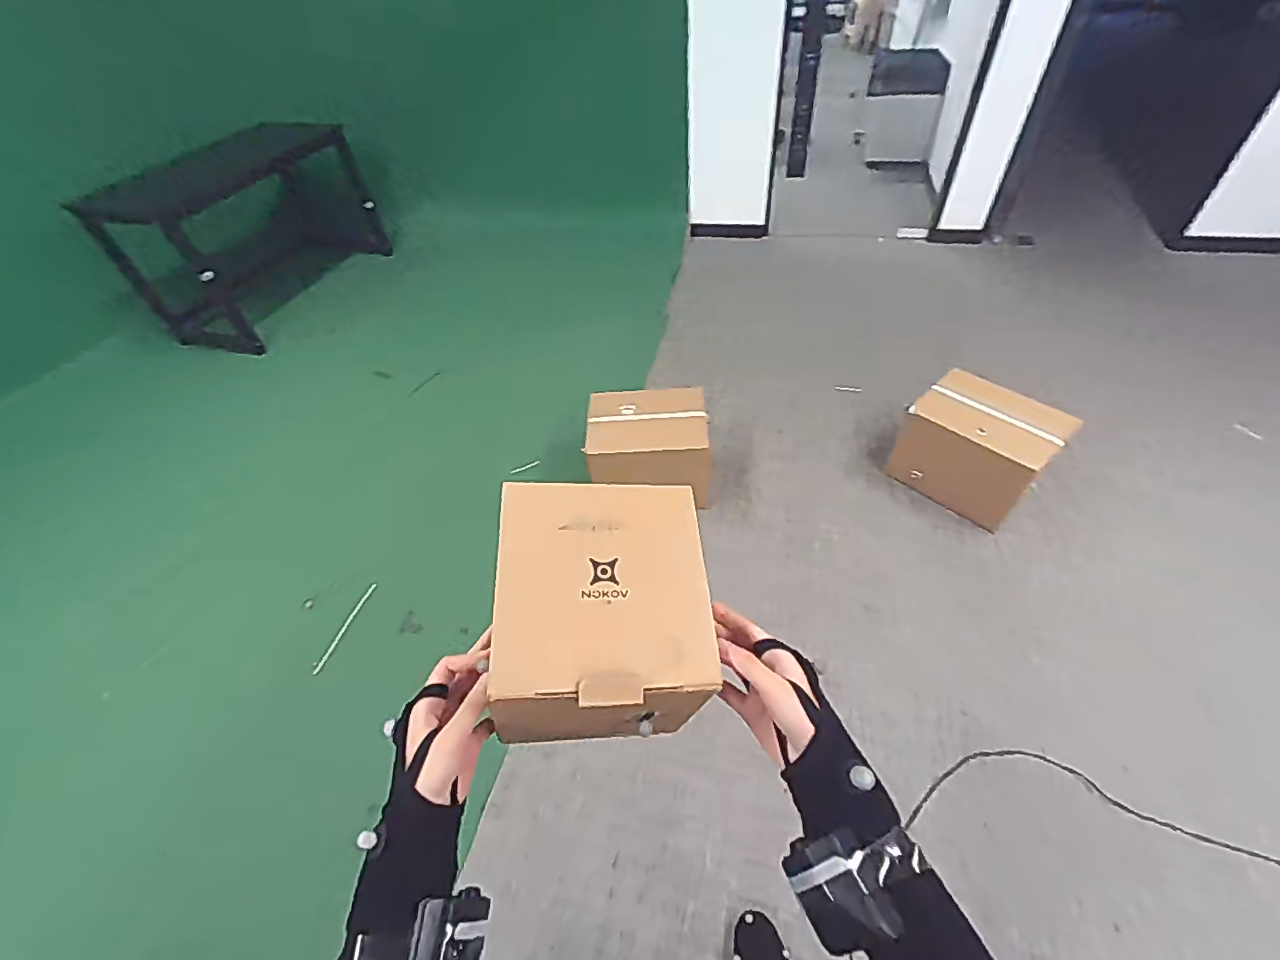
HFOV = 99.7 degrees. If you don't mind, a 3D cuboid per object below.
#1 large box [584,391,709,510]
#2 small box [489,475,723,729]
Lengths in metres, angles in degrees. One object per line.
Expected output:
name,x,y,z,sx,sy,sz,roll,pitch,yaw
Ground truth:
large box,0.031,-0.088,1.934,0.408,0.320,0.320,-4,46,4
small box,-0.037,0.115,0.481,0.168,0.176,0.179,2,54,-10
